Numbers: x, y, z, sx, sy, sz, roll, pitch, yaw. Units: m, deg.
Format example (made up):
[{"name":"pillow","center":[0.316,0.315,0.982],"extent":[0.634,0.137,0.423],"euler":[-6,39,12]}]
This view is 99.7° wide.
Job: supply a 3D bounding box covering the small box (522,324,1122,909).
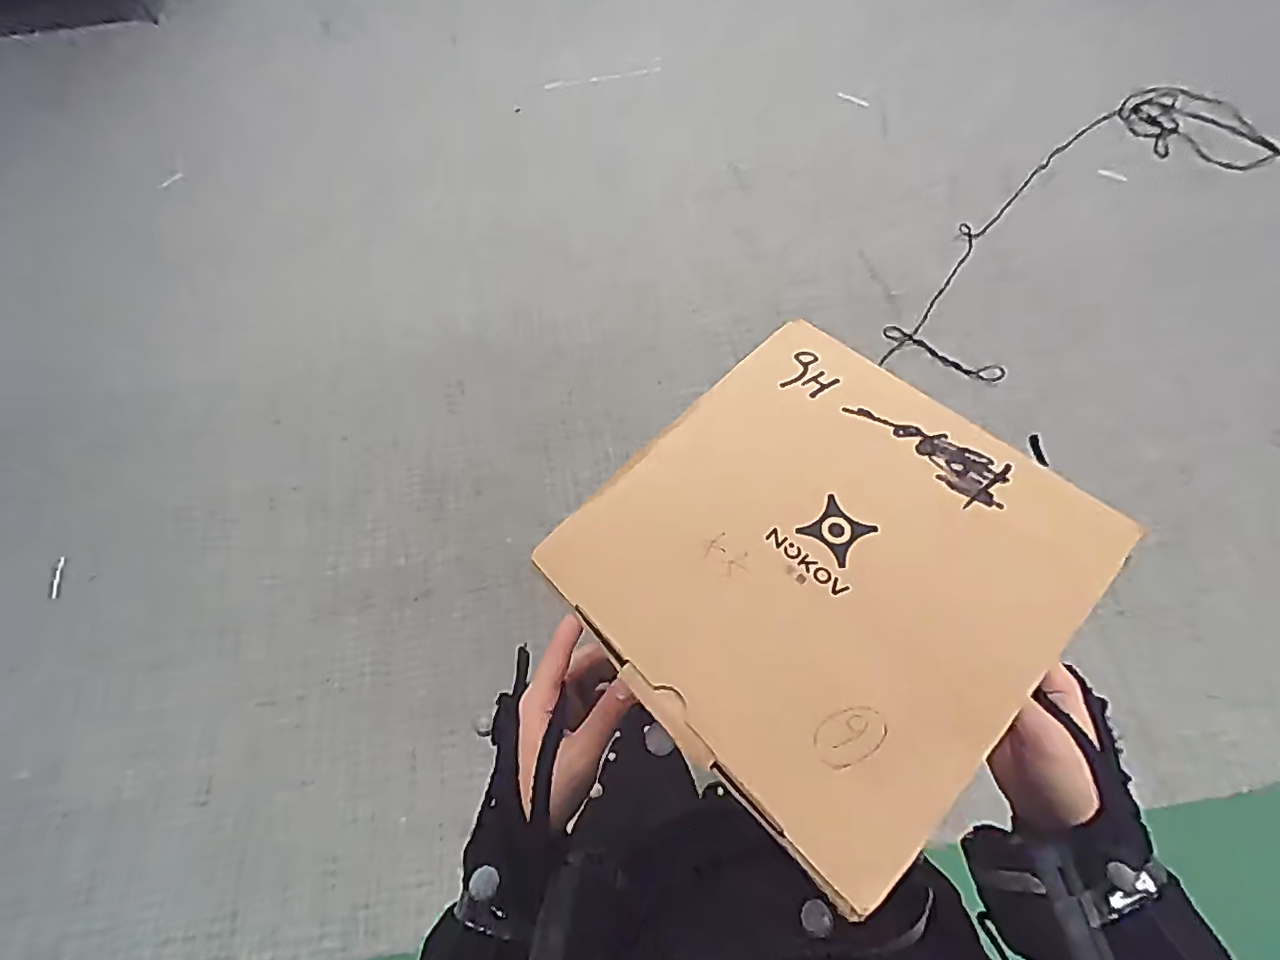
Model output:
[{"name":"small box","center":[0.075,0.063,0.284],"extent":[0.179,0.176,0.168],"euler":[-42,65,-14]}]
